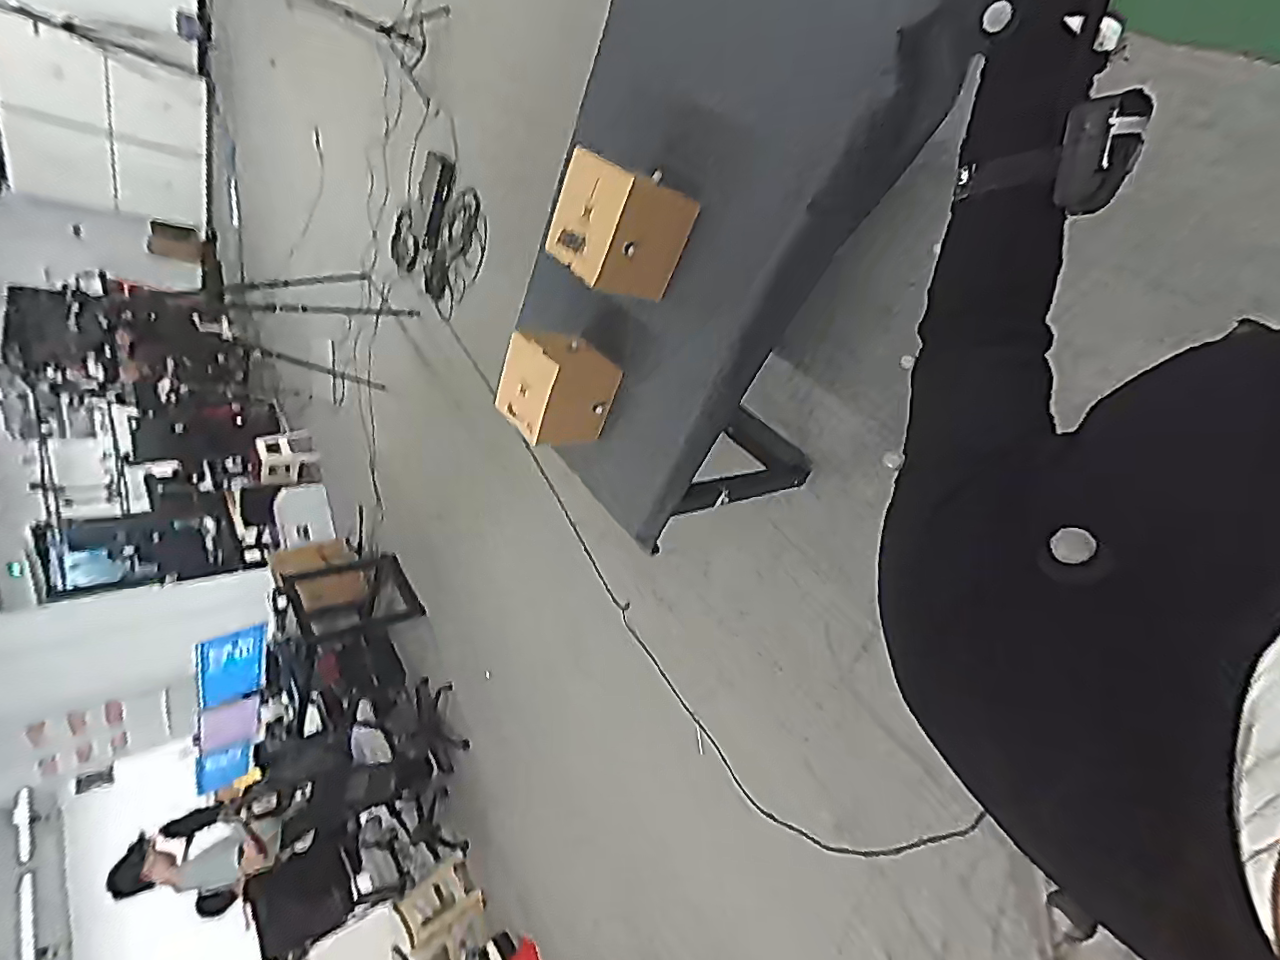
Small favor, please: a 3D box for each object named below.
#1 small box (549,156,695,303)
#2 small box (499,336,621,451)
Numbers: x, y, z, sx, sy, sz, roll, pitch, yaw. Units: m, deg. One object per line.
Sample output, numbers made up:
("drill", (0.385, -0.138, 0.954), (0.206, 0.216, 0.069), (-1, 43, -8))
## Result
("small box", (-0.031, -0.436, 0.964), (0.168, 0.176, 0.179), (45, 124, 31))
("small box", (-0.165, -0.180, 1.133), (0.168, 0.176, 0.179), (42, 122, 32))
